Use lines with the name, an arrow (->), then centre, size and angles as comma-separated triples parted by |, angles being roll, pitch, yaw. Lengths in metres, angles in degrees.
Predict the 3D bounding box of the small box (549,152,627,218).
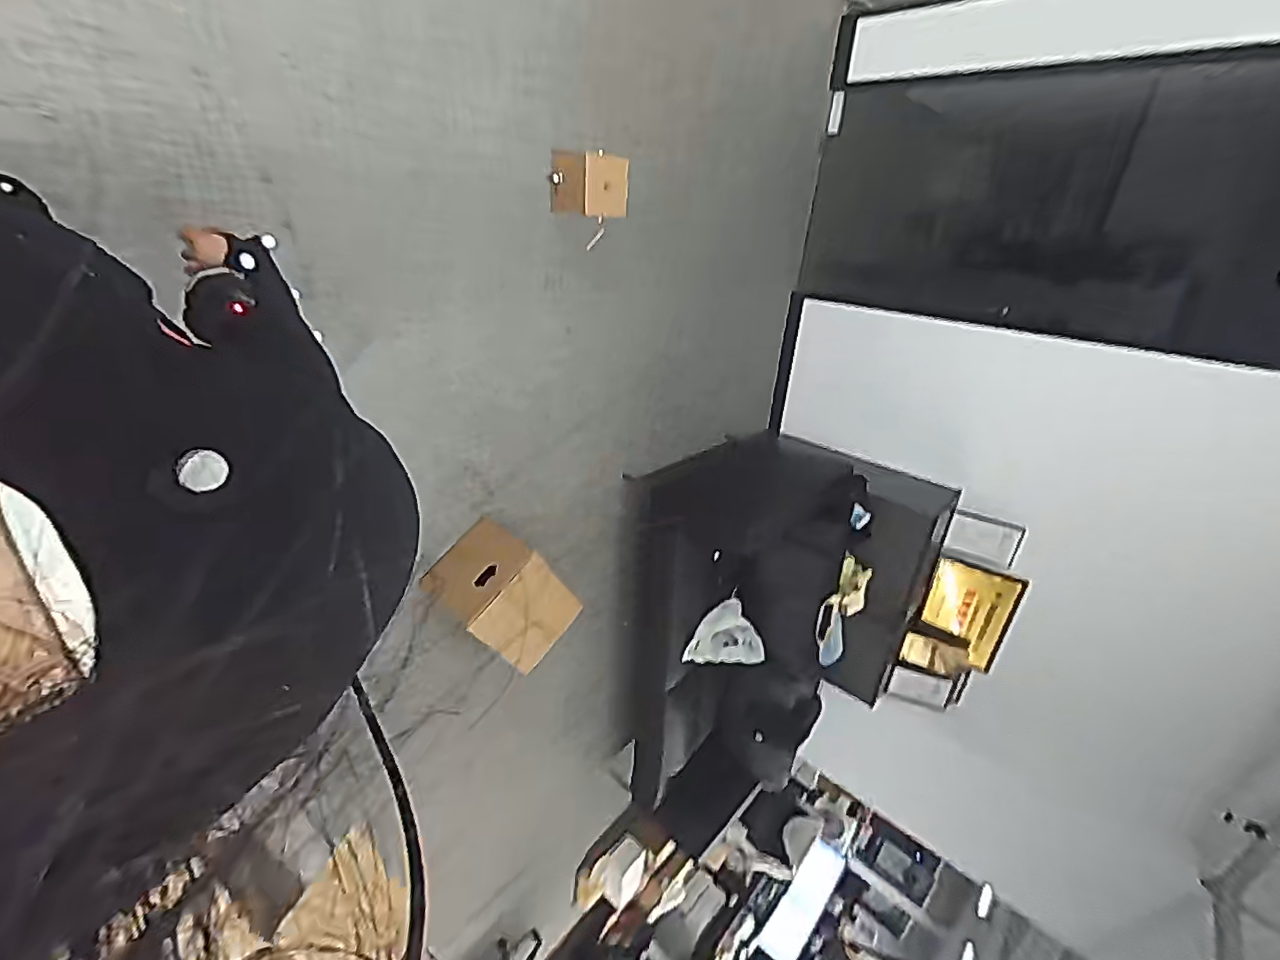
small box -> -0.164, -0.917, 1.686 | 0.179, 0.176, 0.168 | -22, 125, -42
